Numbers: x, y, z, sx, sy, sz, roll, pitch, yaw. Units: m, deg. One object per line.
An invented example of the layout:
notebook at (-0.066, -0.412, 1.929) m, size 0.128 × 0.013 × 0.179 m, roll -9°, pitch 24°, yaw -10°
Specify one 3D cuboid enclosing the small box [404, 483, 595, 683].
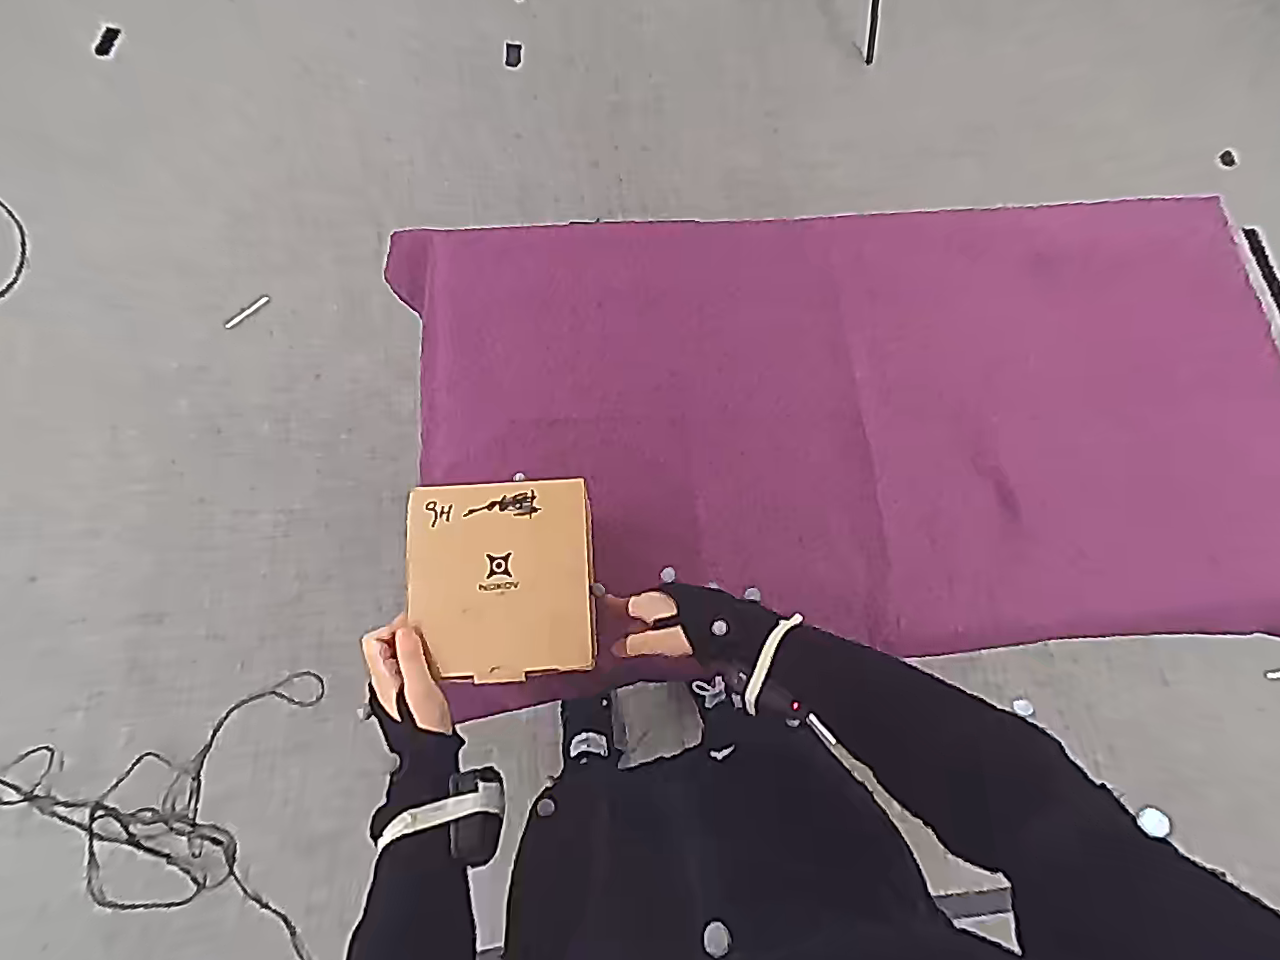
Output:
small box at (-0.135, 0.108, 0.573) m, size 0.168 × 0.176 × 0.179 m, roll -3°, pitch 76°, yaw -4°
